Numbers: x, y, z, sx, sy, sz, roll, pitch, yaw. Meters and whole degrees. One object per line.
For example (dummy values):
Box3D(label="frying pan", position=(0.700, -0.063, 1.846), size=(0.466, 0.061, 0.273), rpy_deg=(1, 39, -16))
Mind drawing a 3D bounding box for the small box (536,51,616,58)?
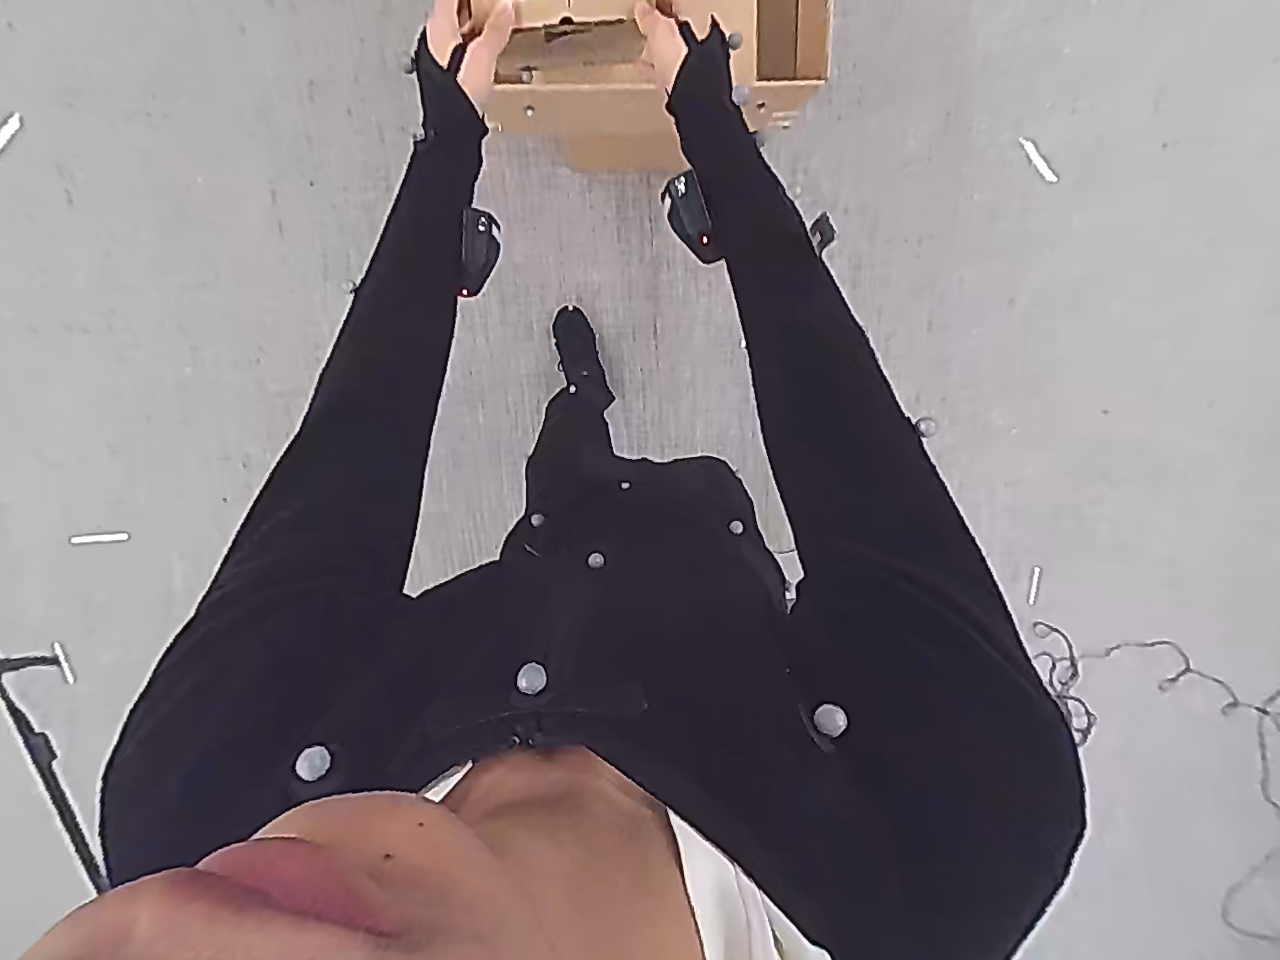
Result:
Box3D(label="small box", position=(-0.119, -0.826, 0.876), size=(0.168, 0.176, 0.179), rpy_deg=(-4, 107, -3))

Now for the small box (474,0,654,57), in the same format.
Box3D(label="small box", position=(-0.079, -0.532, 0.519), size=(0.168, 0.176, 0.179), rpy_deg=(-7, 117, -3))
